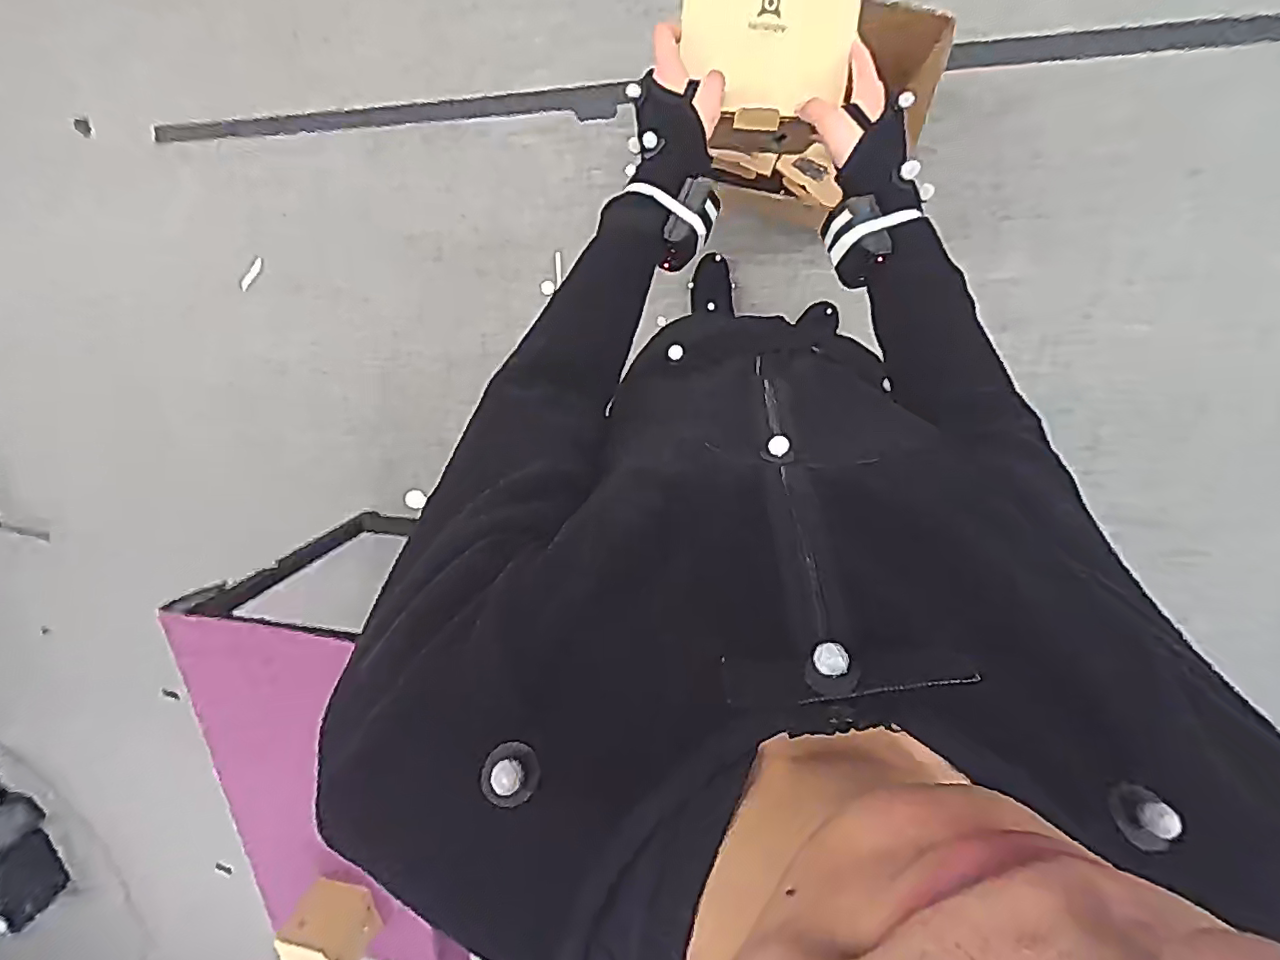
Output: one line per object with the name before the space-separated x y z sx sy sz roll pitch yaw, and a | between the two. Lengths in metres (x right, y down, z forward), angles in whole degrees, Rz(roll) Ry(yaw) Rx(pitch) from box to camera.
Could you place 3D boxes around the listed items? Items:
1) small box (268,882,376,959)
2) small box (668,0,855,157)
small box | -0.882 1.271 1.513 0.179 0.176 0.168 0 110 13
small box | 0.121 -0.463 0.580 0.168 0.176 0.179 5 111 1
